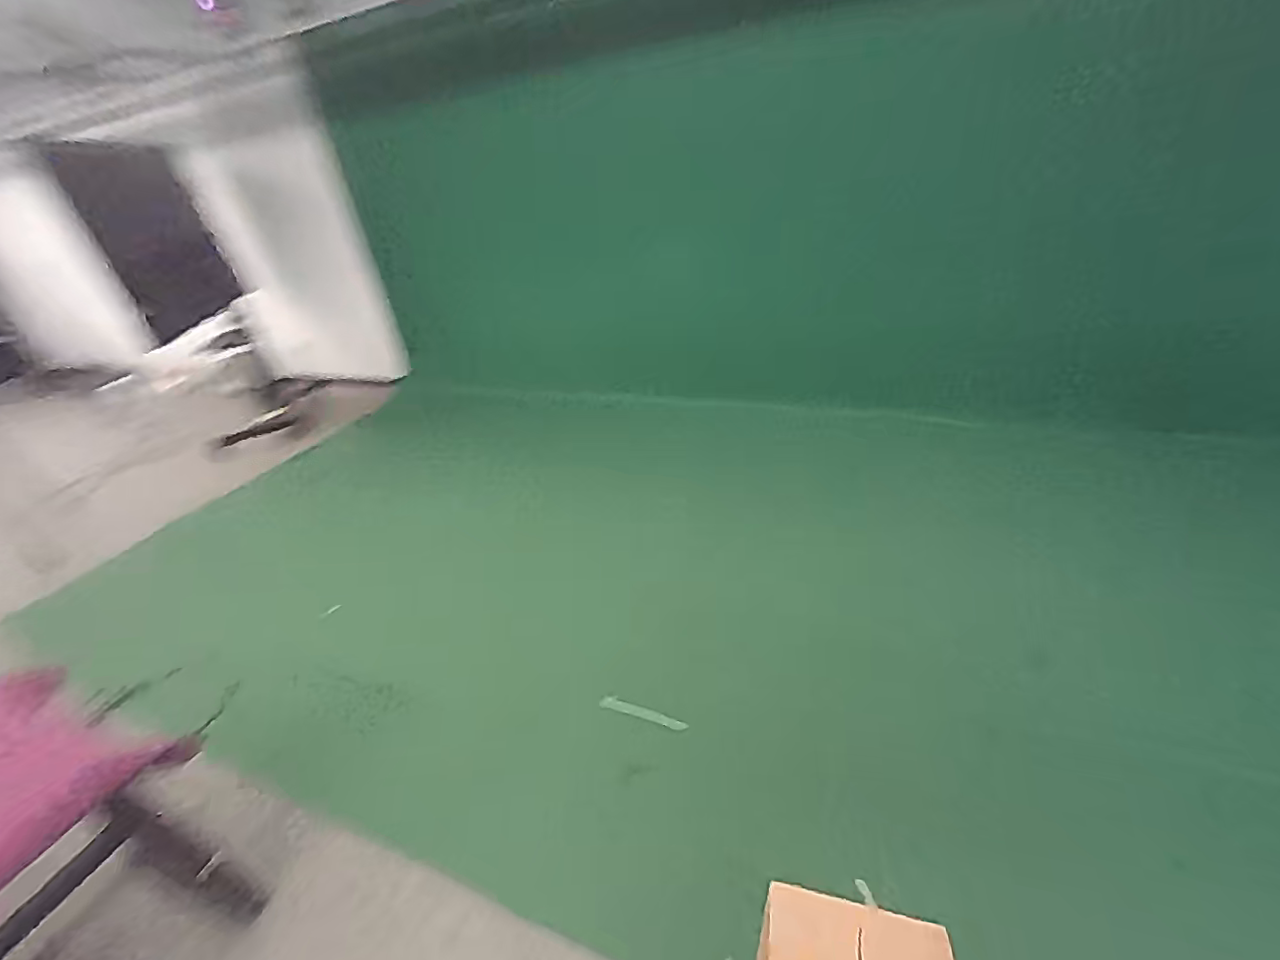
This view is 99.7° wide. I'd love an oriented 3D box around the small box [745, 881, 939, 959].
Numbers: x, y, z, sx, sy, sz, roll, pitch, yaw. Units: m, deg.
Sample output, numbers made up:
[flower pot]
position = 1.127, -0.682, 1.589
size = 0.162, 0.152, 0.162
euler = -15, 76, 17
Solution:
[small box]
position = 0.174, 0.516, 0.483
size = 0.168, 0.176, 0.179
euler = 5, 27, 12
